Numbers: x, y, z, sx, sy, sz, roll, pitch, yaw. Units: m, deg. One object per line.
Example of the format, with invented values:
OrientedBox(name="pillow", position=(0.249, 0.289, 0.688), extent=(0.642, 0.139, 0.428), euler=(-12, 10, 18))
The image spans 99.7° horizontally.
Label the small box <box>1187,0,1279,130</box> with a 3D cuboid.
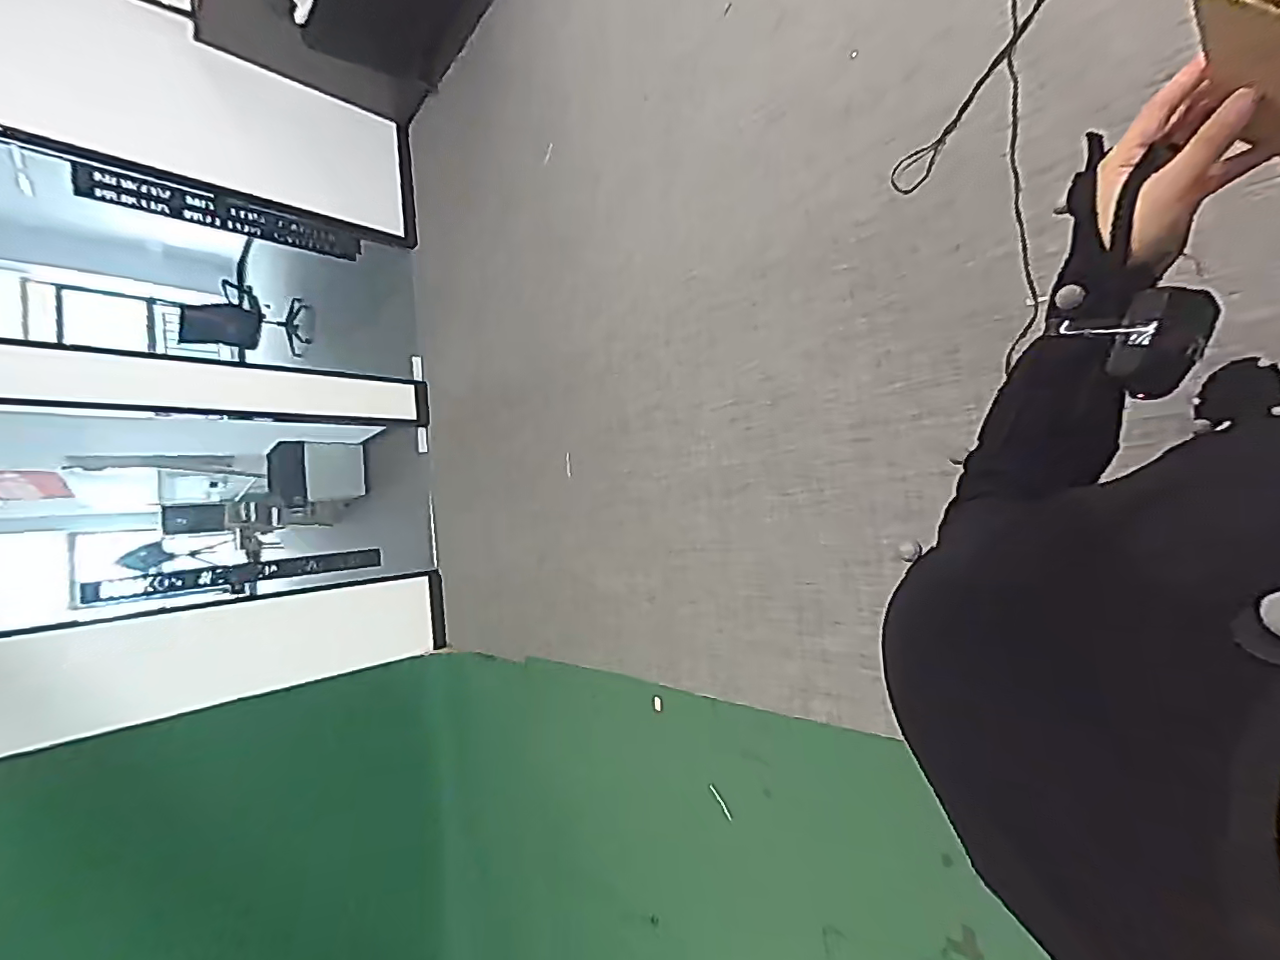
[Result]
OrientedBox(name="small box", position=(0.402, -0.242, 0.223), extent=(0.179, 0.176, 0.168), euler=(-56, 49, 35))
